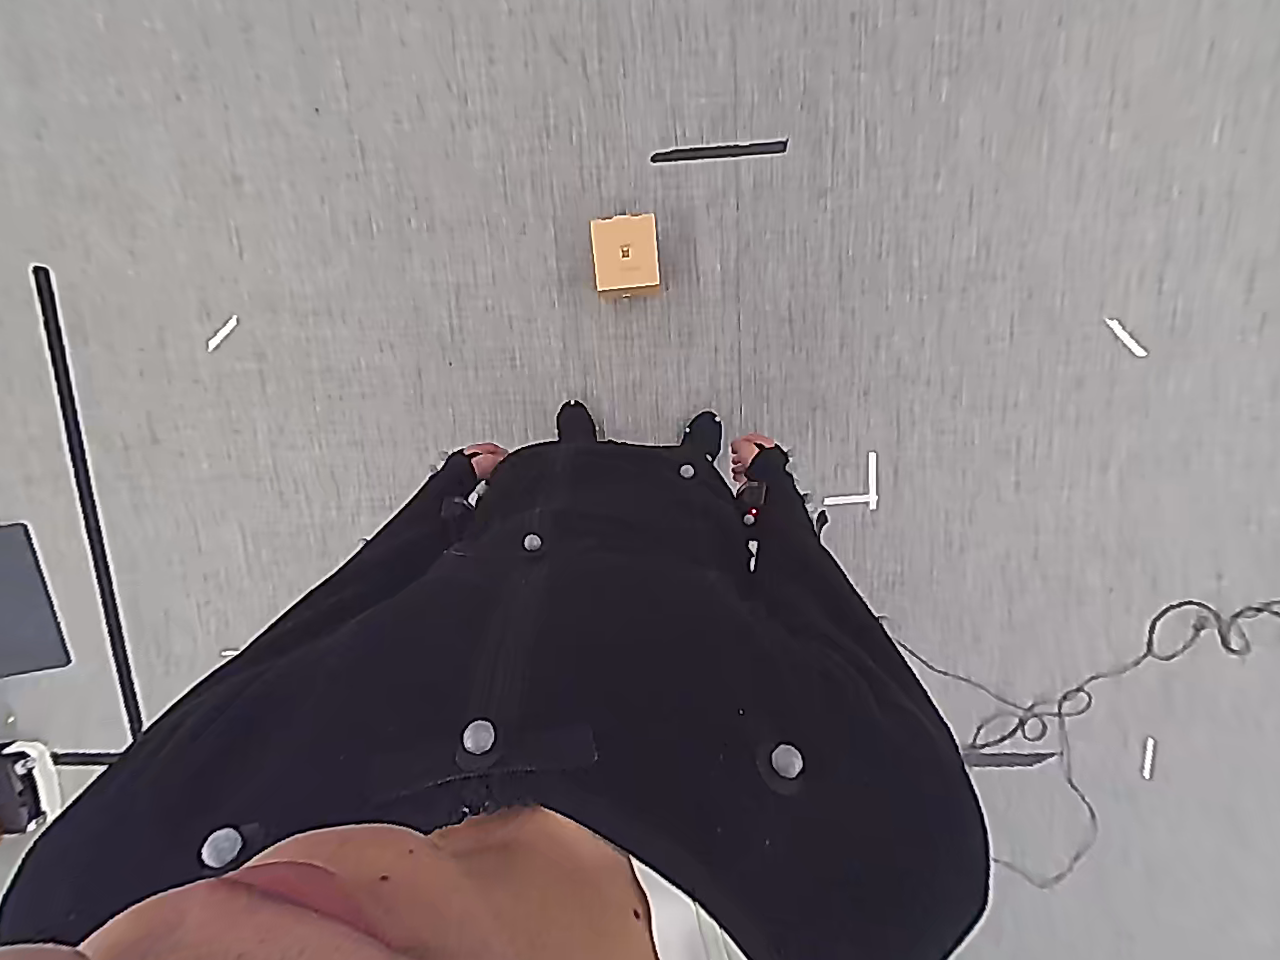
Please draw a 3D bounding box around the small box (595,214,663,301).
[{"bbox_3d":[-0.027,-0.592,1.454,0.168,0.176,0.179,-4,100,4],"label":"small box"}]
